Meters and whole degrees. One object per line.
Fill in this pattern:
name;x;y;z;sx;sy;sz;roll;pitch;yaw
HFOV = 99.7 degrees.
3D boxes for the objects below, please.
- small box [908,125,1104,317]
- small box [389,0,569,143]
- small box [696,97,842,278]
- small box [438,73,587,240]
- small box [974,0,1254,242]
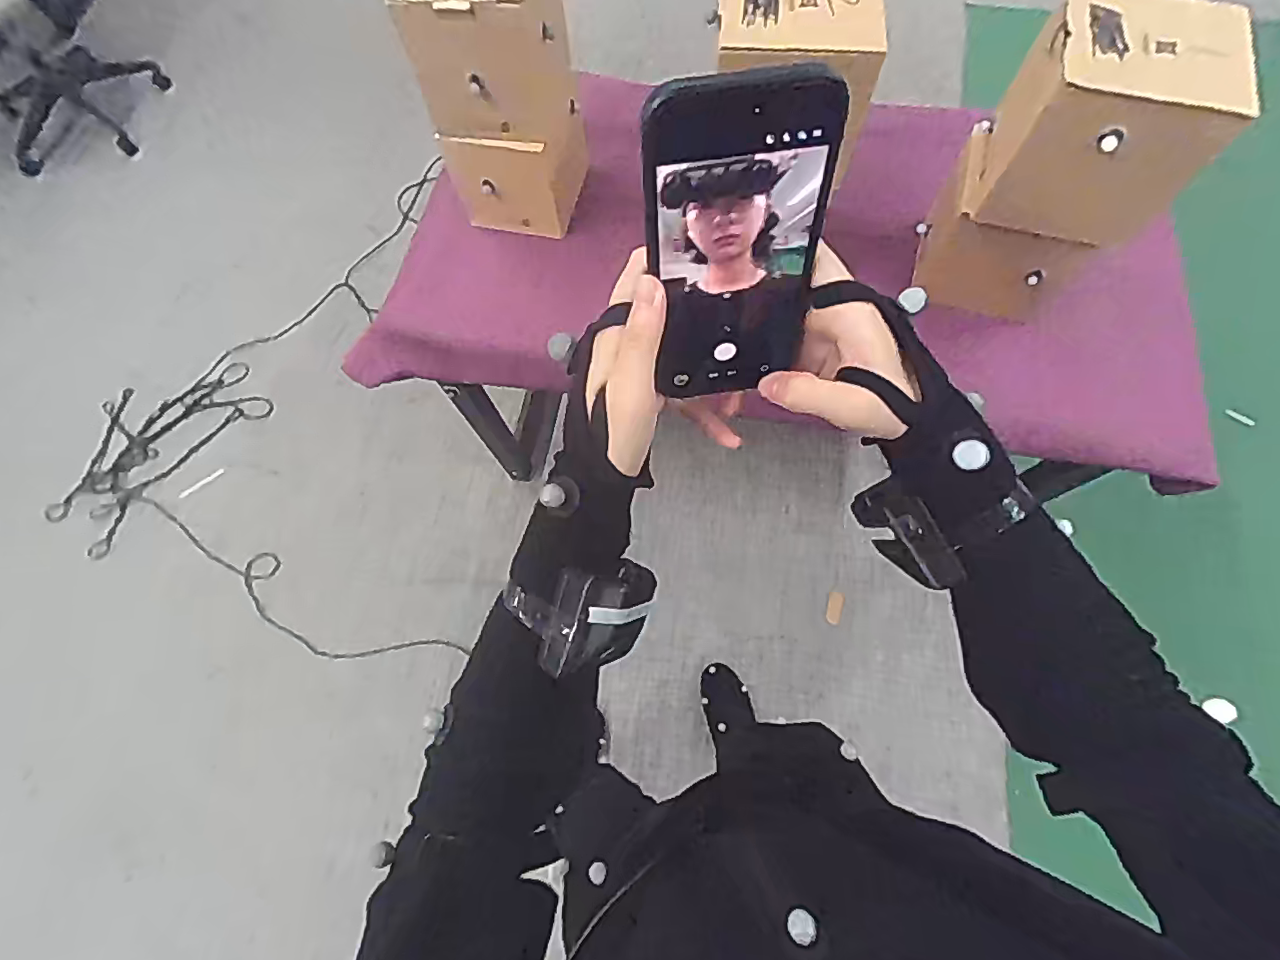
small box;0.517;-0.359;0.773;0.179;0.176;0.168;16;71;10
small box;-0.197;-0.585;0.720;0.168;0.176;0.179;6;70;5
small box;0.187;-0.432;0.816;0.179;0.176;0.168;10;70;7
small box;-0.191;-0.519;0.871;0.168;0.176;0.179;11;70;7
small box;0.514;-0.401;0.614;0.179;0.176;0.168;16;71;8
